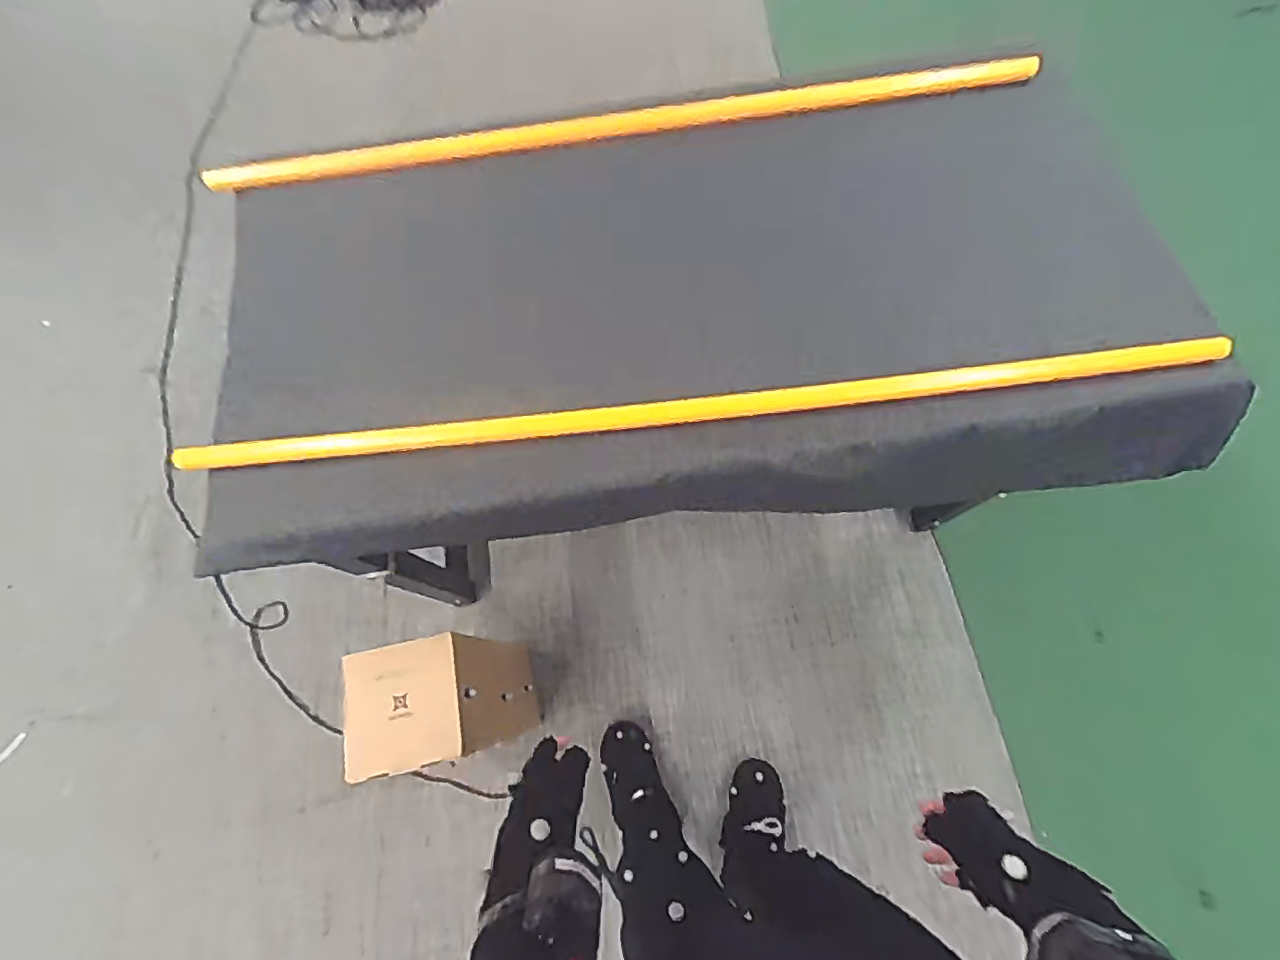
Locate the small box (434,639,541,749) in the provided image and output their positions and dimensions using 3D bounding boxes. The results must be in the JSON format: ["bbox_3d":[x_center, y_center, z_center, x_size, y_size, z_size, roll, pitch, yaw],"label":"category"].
[{"bbox_3d":[-0.322,0.455,1.159,0.168,0.176,0.179,-15,71,-3],"label":"small box"}]
